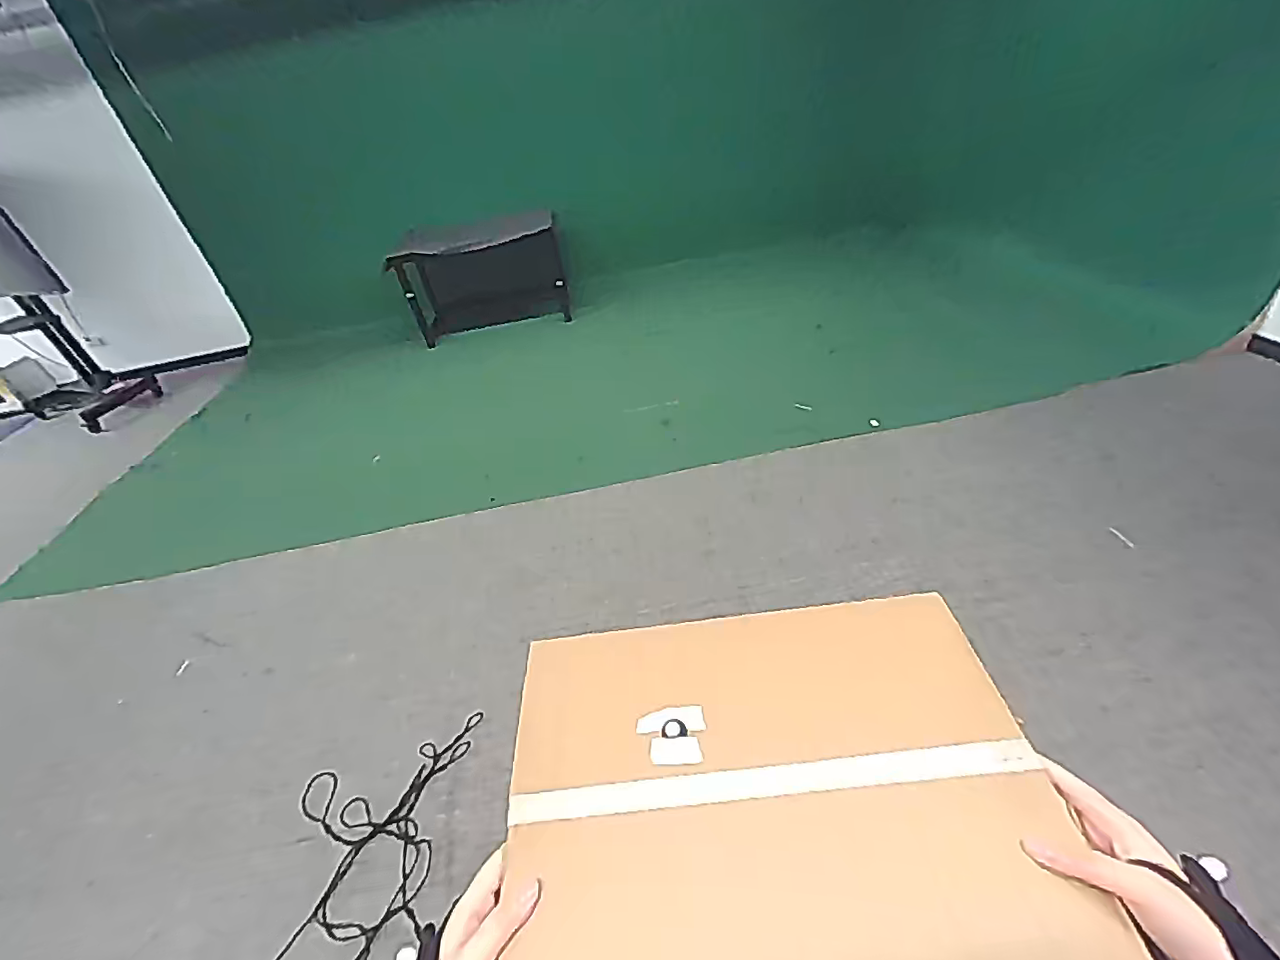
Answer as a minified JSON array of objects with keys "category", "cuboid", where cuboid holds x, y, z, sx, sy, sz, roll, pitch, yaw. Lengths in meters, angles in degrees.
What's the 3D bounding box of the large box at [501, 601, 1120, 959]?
[{"category":"large box","cuboid":[0.119,0.359,0.526,0.408,0.320,0.320,-9,40,5]}]
